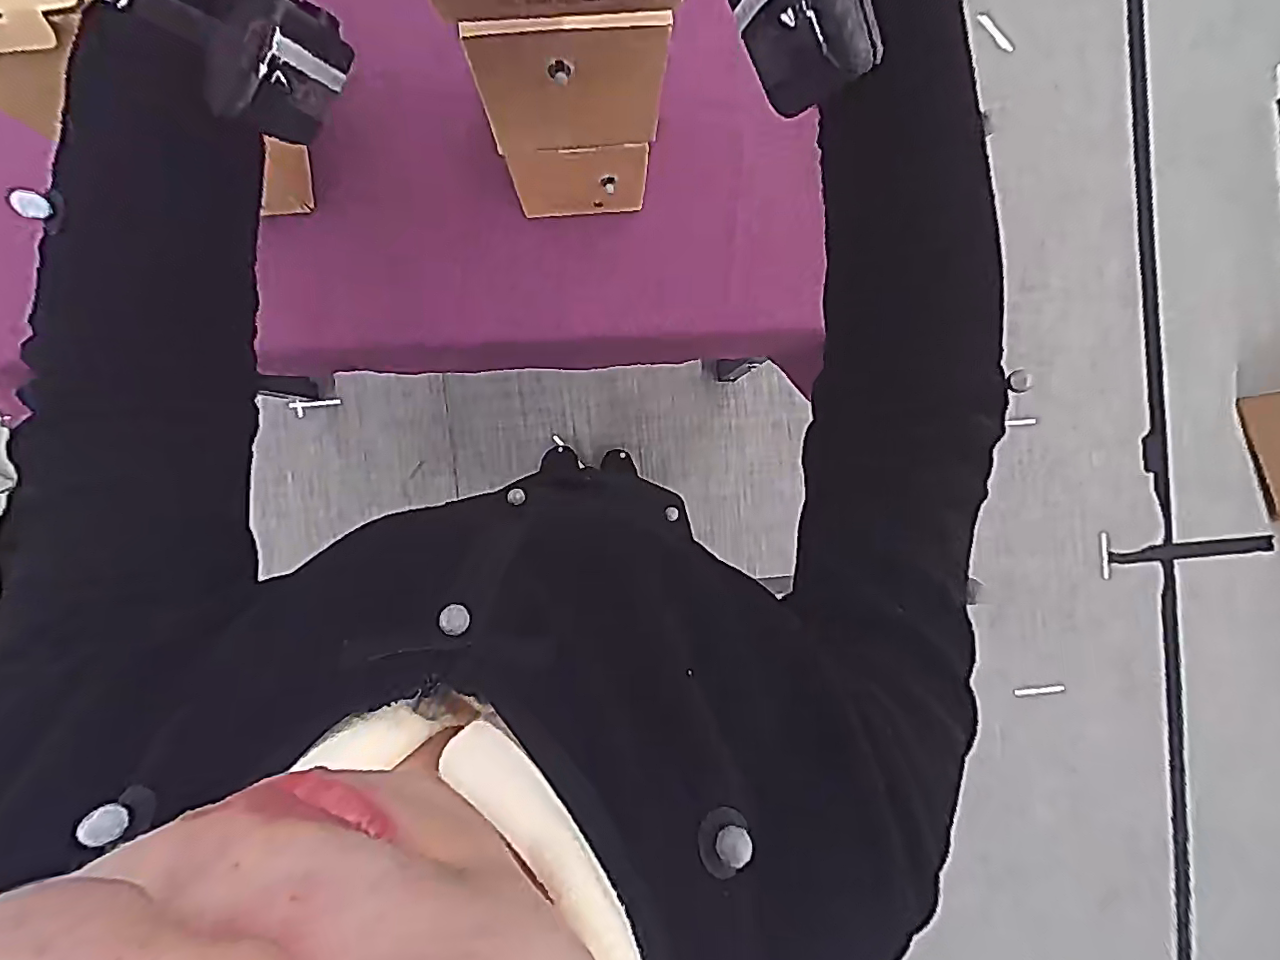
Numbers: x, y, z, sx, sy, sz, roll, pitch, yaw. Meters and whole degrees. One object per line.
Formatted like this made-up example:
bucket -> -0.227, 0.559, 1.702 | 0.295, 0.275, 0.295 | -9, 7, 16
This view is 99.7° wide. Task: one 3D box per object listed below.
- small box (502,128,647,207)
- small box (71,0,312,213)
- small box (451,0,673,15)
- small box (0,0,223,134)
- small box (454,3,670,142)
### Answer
small box -> -0.080, -0.461, 0.675 | 0.168, 0.176, 0.179 | -5, 93, -3
small box -> -0.529, -0.450, 0.651 | 0.168, 0.176, 0.179 | -5, 94, -3
small box -> -0.054, -0.391, 0.273 | 0.168, 0.176, 0.179 | -4, 94, -1
small box -> -0.521, -0.442, 0.488 | 0.168, 0.176, 0.179 | -7, 93, -3
small box -> -0.072, -0.449, 0.511 | 0.179, 0.176, 0.168 | -6, 94, -4
